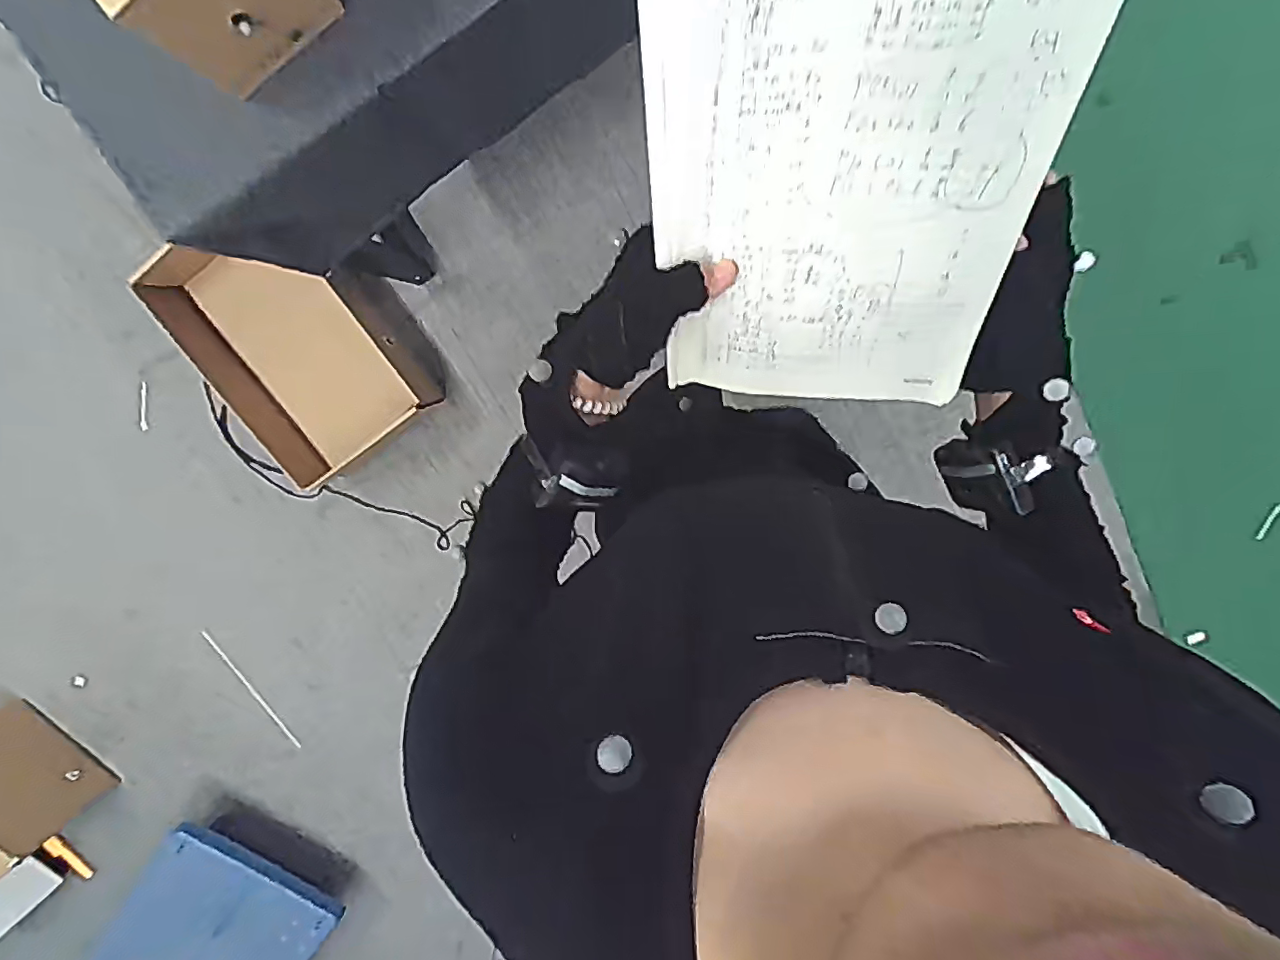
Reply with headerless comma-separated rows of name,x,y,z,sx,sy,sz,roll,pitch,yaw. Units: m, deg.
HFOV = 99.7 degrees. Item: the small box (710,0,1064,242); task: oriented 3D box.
small box,0.147,-0.261,0.382,0.179,0.176,0.168,0,113,3
